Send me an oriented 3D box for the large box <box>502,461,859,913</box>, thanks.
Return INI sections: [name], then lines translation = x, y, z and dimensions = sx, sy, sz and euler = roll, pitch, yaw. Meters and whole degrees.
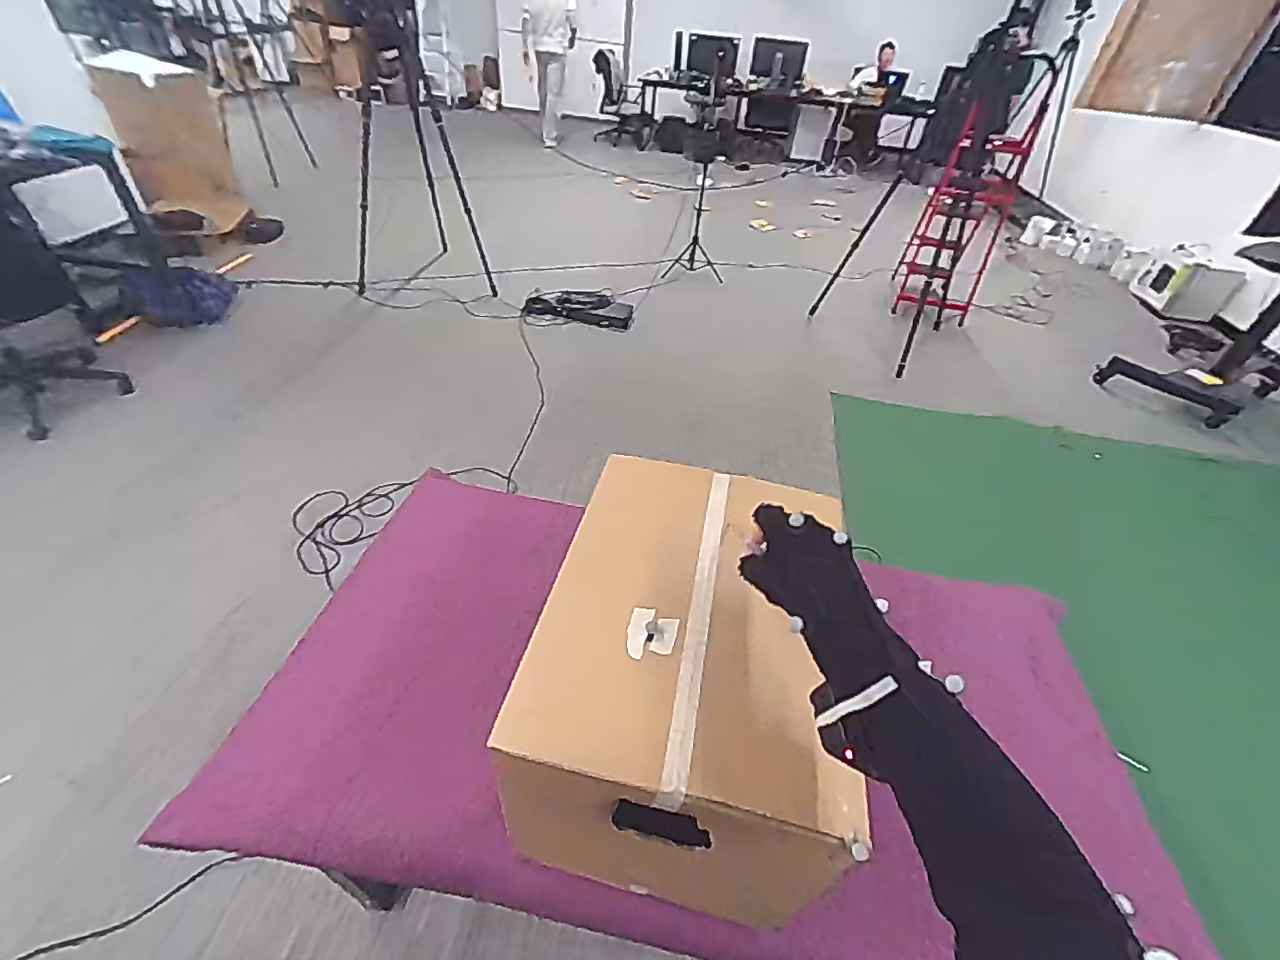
[large box]
translation = 0.053, 0.241, 0.691
dimensions = 0.320, 0.320, 0.408
euler = 12, 42, 6
